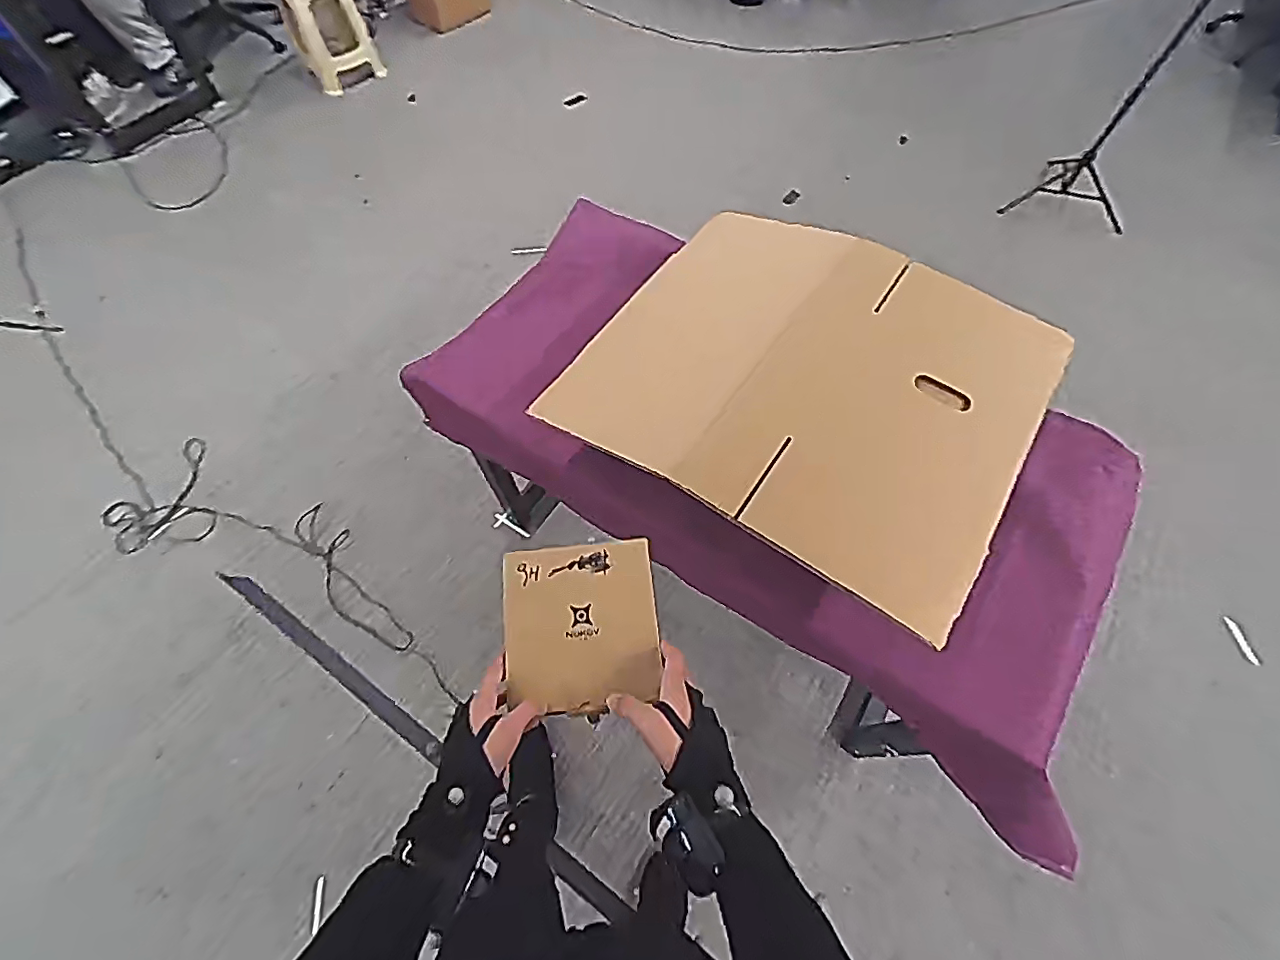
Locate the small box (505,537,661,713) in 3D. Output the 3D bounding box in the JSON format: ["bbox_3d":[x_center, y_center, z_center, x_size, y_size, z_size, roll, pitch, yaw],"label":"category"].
[{"bbox_3d":[-0.065,0.179,0.663,0.168,0.176,0.179,-5,70,-3],"label":"small box"}]
